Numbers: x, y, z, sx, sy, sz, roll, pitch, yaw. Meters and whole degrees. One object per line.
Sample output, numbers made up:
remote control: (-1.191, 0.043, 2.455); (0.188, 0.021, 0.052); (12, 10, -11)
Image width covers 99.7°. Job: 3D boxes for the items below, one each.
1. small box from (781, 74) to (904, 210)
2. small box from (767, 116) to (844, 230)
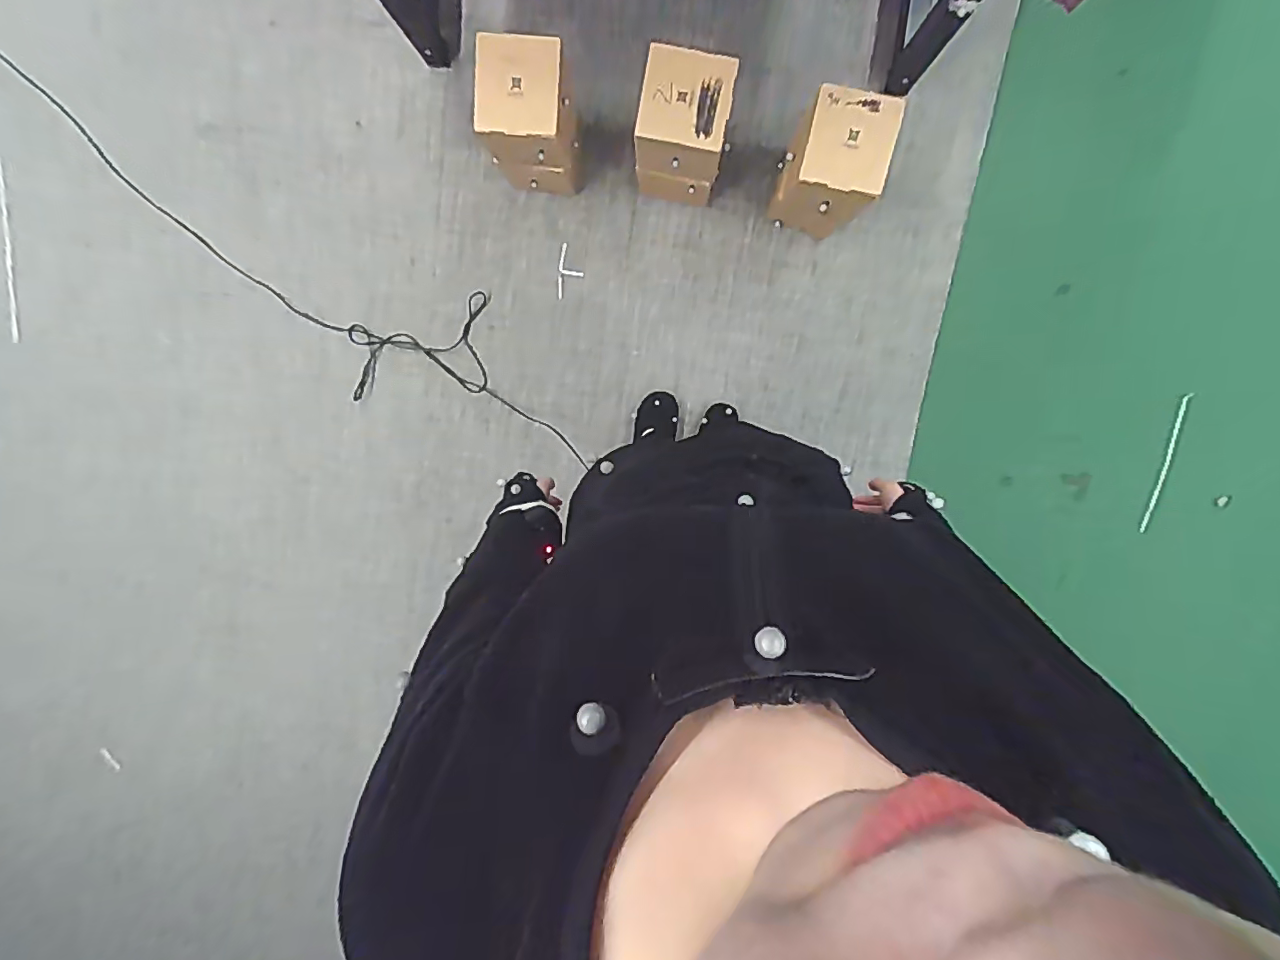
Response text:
small box: (0.401, -0.676, 1.108); (0.168, 0.176, 0.179); (13, 103, -2)
small box: (0.408, -0.714, 1.269); (0.168, 0.176, 0.179); (17, 100, -1)
